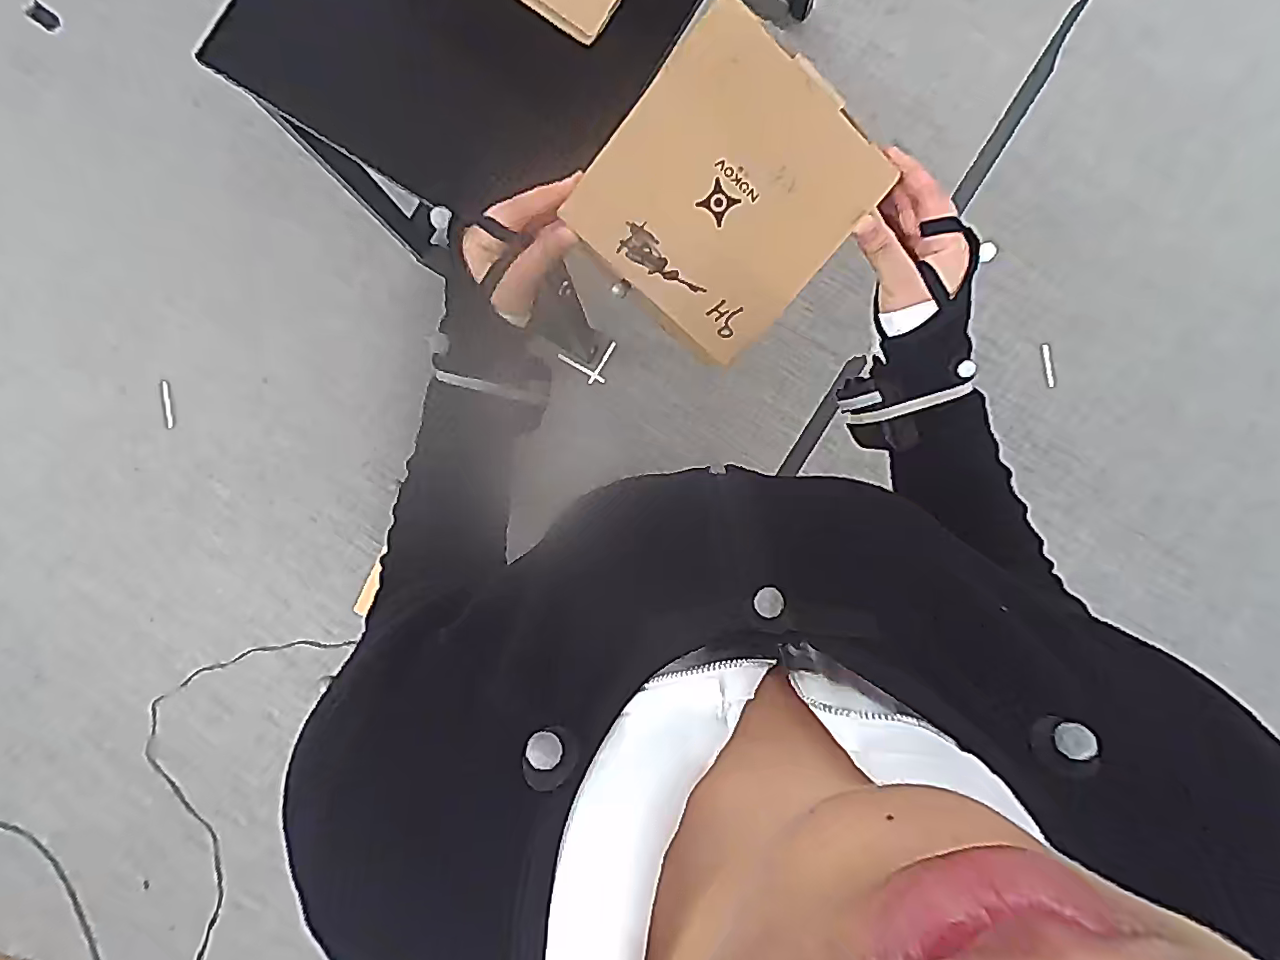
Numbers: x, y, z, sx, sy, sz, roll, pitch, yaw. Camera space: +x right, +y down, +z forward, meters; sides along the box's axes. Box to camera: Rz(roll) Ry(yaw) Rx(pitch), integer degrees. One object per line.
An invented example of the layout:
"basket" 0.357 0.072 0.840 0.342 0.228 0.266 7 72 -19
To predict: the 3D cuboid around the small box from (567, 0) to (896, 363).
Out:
"small box" 0.062 -0.219 0.452 0.168 0.176 0.179 40 100 -8
